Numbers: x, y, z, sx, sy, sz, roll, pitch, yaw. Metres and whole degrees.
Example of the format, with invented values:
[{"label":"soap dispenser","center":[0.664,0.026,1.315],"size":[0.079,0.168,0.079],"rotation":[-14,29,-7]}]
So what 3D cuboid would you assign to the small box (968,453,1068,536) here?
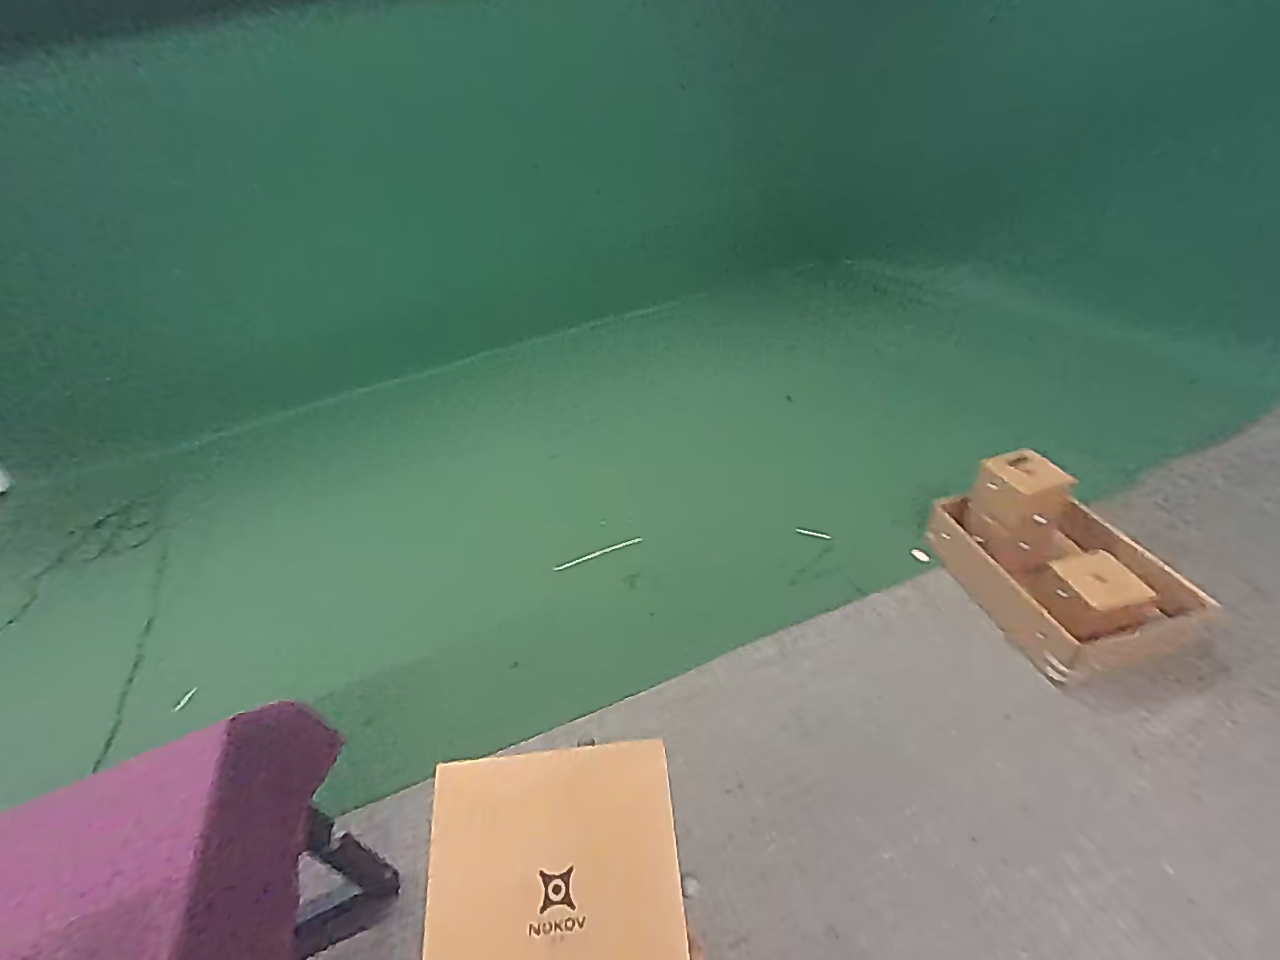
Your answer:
[{"label":"small box","center":[1.155,0.045,1.670],"size":[0.168,0.176,0.179],"rotation":[-15,38,-4]}]
